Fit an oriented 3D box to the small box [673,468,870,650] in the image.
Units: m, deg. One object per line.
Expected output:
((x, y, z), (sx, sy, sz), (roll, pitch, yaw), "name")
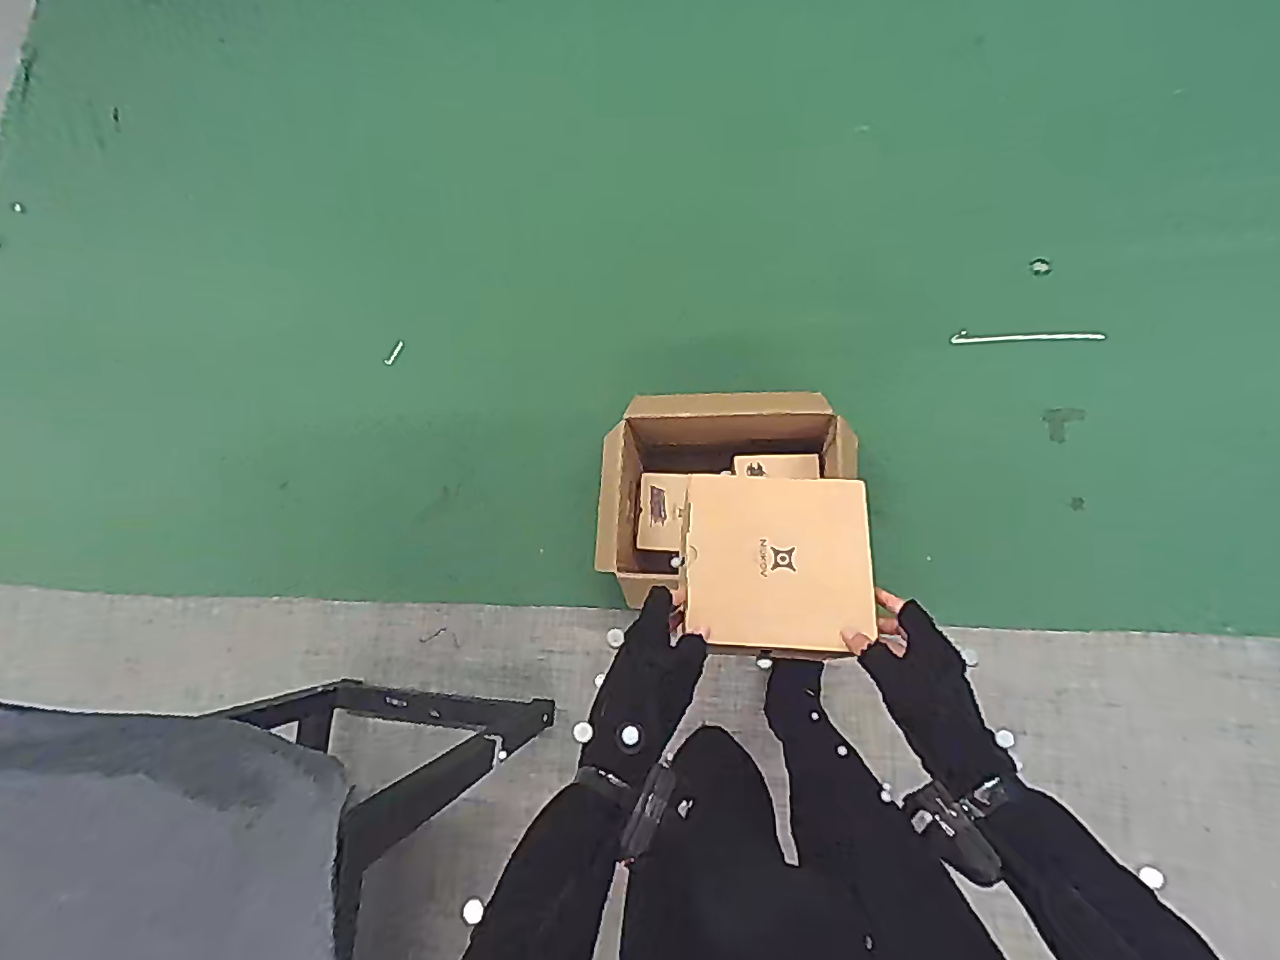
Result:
((0.128, 0.094, 0.588), (0.179, 0.176, 0.168), (2, 72, 4), "small box")
